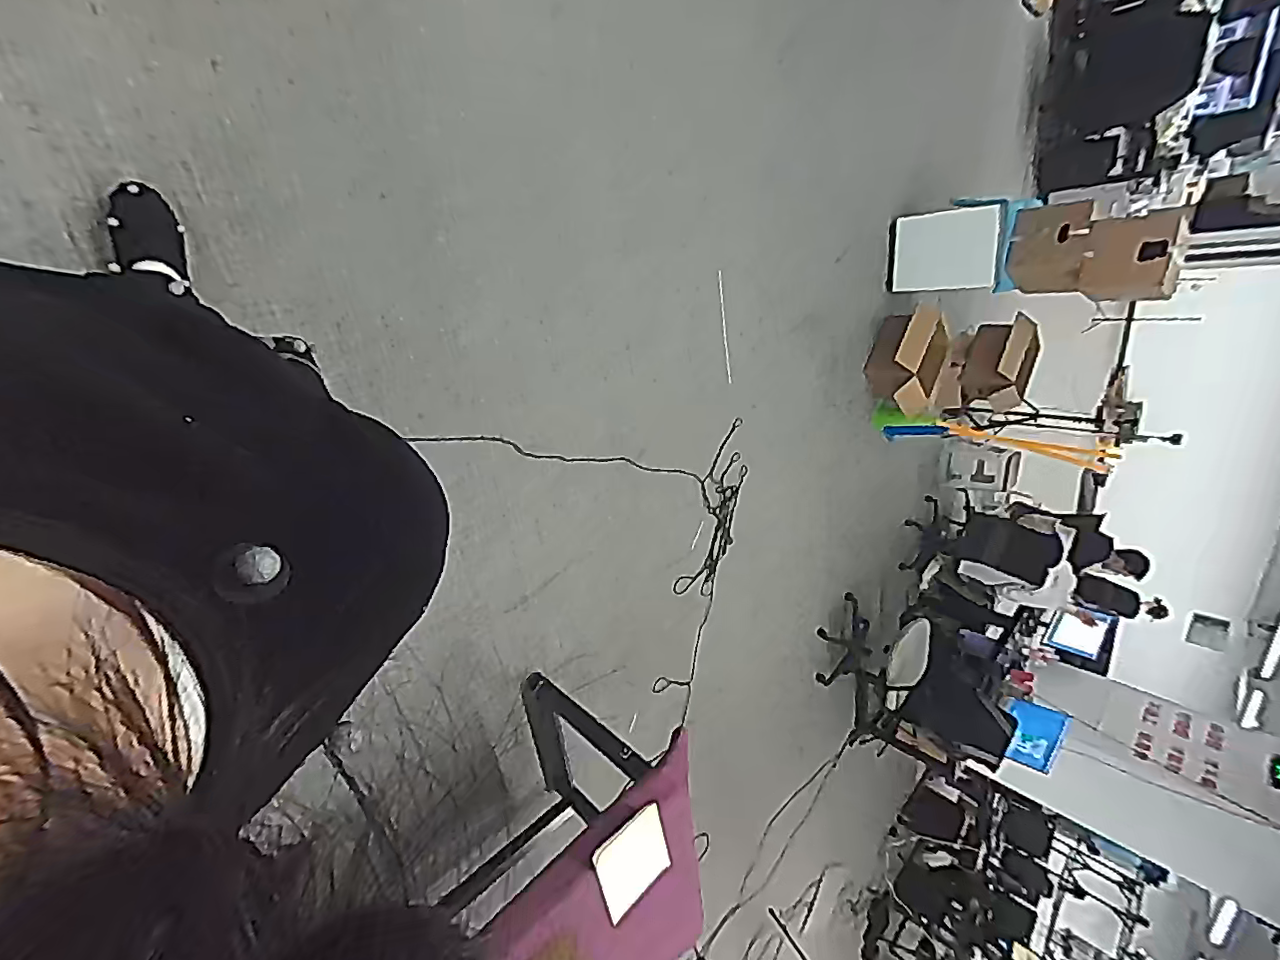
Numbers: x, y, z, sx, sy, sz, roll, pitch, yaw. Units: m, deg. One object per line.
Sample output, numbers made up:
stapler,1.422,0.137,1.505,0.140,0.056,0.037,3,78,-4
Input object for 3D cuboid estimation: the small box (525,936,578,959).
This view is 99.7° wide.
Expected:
small box,-0.191,1.149,1.168,0.168,0.176,0.179,-24,117,-37
